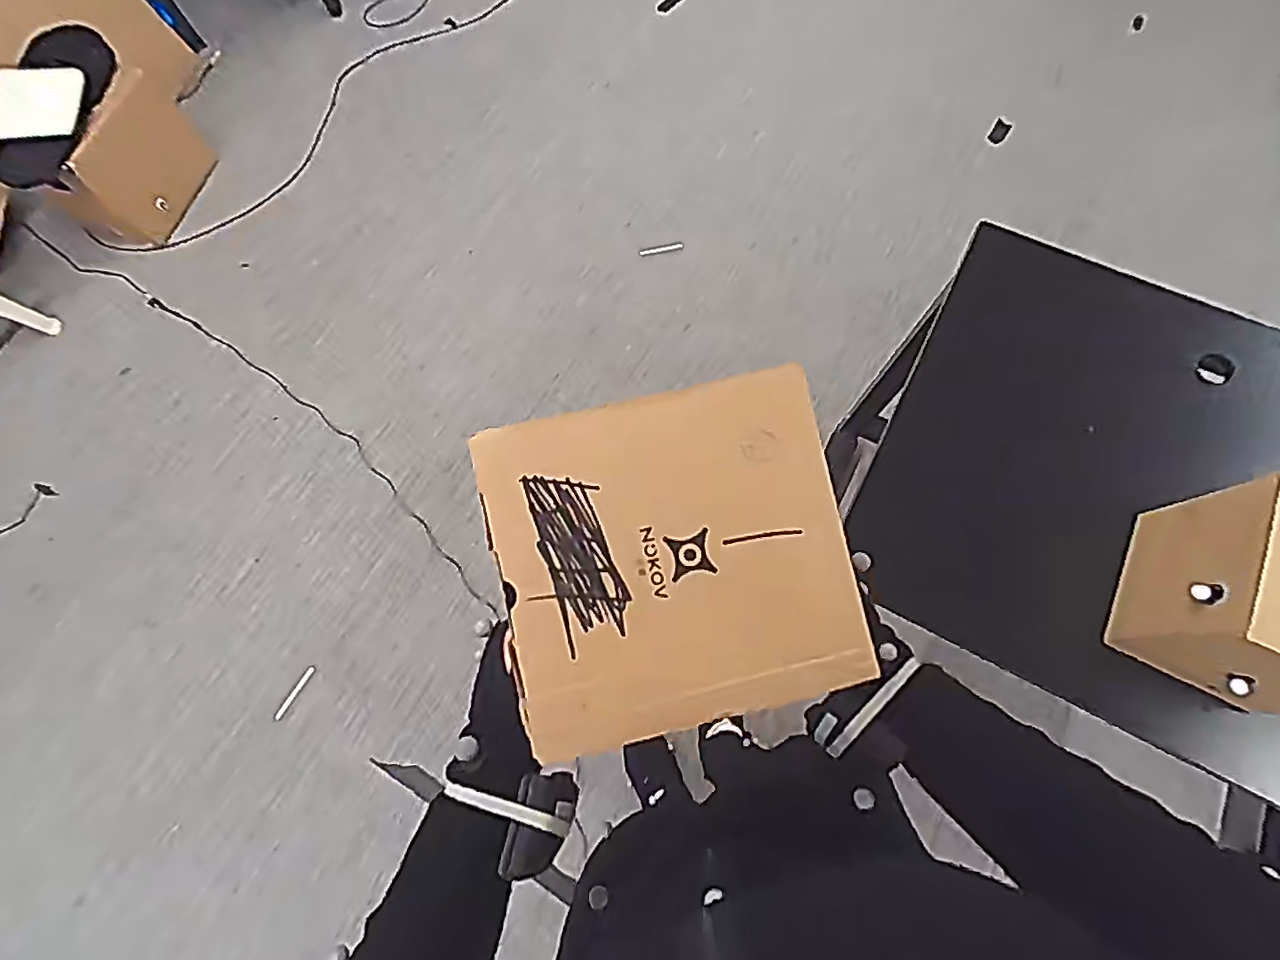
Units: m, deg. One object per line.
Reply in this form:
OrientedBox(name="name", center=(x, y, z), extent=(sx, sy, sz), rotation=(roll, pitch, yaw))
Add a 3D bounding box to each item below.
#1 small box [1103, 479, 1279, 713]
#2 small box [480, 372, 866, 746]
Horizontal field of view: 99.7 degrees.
OrientedBox(name="small box", center=(0.644, 0.131, 0.568), extent=(0.168, 0.176, 0.179), rotation=(27, 75, 10))
OrientedBox(name="small box", center=(0.015, 0.045, 0.359), extent=(0.179, 0.176, 0.168), rotation=(-12, 86, -3))
